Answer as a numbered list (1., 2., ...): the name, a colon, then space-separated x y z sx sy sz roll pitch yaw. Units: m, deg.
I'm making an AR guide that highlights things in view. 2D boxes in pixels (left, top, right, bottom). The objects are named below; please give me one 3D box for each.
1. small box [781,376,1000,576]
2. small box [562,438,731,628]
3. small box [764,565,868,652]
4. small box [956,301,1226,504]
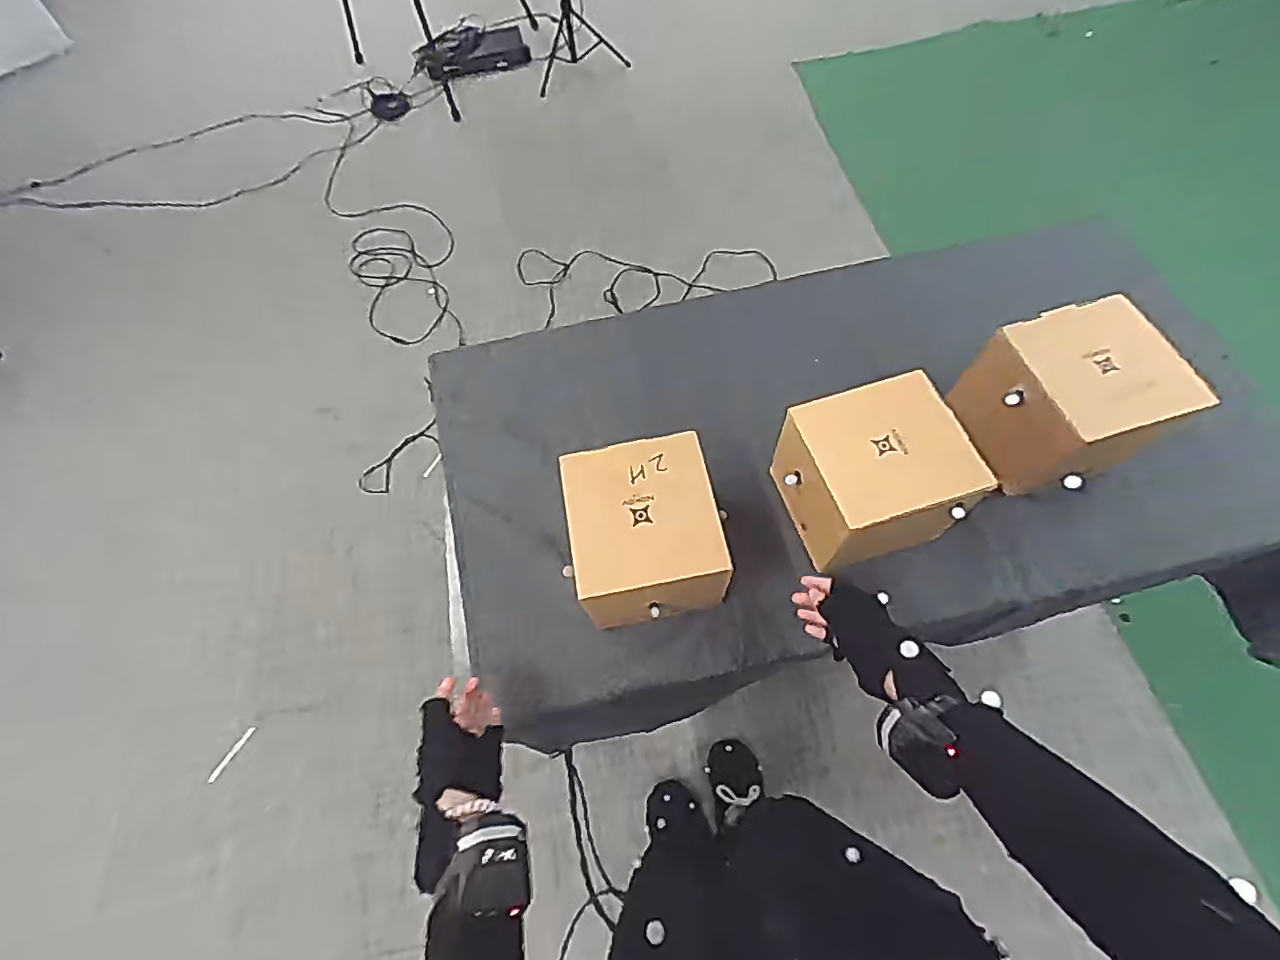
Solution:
1. small box: 0.288 0.004 0.677 0.179 0.176 0.168 -17 64 -3
2. small box: 0.008 0.075 0.662 0.168 0.176 0.179 -10 64 -1
3. small box: 0.420 0.312 1.323 0.179 0.176 0.168 -15 64 -1
4. small box: 0.553 -0.093 0.700 0.168 0.176 0.179 -15 64 -2
